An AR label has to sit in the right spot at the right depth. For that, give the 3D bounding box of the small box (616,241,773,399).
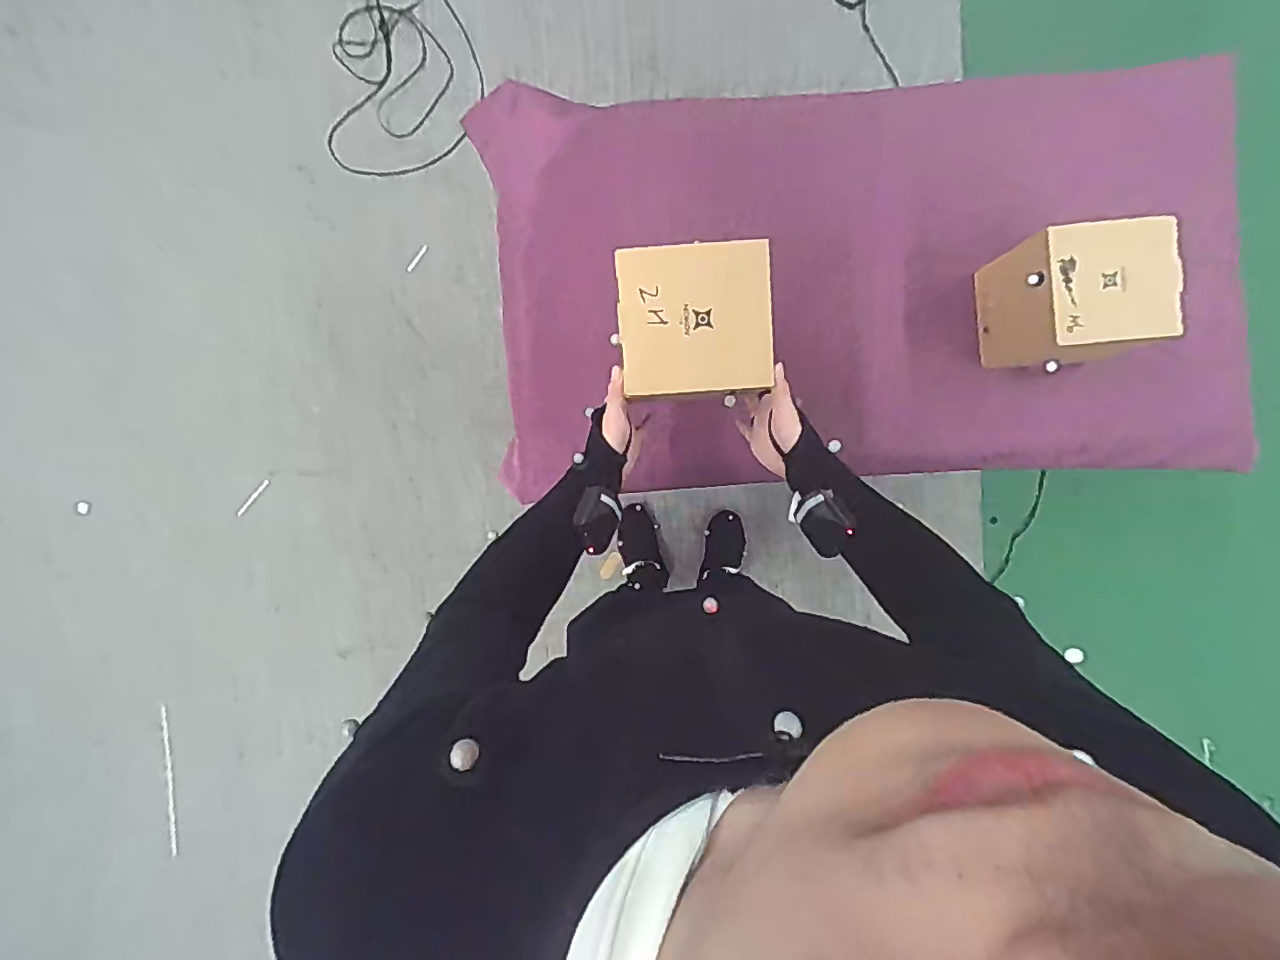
[{"bbox_3d":[0.063,-0.192,0.691,0.179,0.176,0.168,-3,95,2],"label":"small box"}]

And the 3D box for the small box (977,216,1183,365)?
[{"bbox_3d":[0.646,-0.274,0.813,0.179,0.176,0.168,-4,90,1],"label":"small box"}]
